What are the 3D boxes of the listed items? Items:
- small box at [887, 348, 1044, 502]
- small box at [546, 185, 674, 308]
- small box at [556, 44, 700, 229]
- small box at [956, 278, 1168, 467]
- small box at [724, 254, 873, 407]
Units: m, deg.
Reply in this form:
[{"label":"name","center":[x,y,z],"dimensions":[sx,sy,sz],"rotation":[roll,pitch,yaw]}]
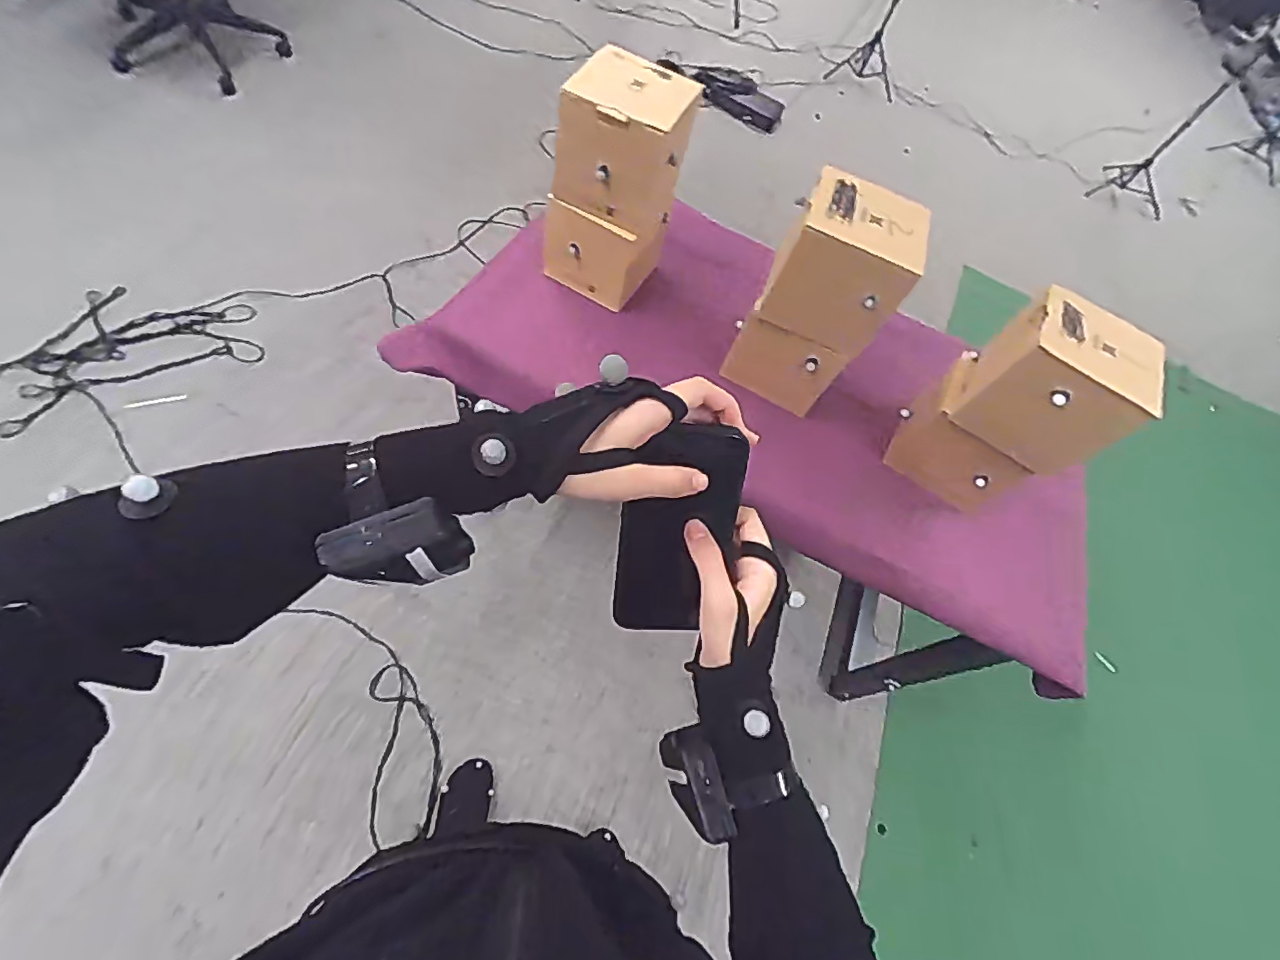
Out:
[{"label":"small box","center":[0.569,-0.085,0.933],"dimensions":[0.179,0.176,0.168],"rotation":[33,59,7]},{"label":"small box","center":[-0.059,-0.454,1.000],"dimensions":[0.168,0.176,0.179],"rotation":[29,59,4]},{"label":"small box","center":[-0.025,-0.539,0.863],"dimensions":[0.168,0.176,0.179],"rotation":[24,60,1]},{"label":"small box","center":[0.601,-0.149,0.785],"dimensions":[0.179,0.176,0.168],"rotation":[33,59,6]},{"label":"small box","center":[0.276,-0.256,0.962],"dimensions":[0.179,0.176,0.168],"rotation":[28,59,4]}]
